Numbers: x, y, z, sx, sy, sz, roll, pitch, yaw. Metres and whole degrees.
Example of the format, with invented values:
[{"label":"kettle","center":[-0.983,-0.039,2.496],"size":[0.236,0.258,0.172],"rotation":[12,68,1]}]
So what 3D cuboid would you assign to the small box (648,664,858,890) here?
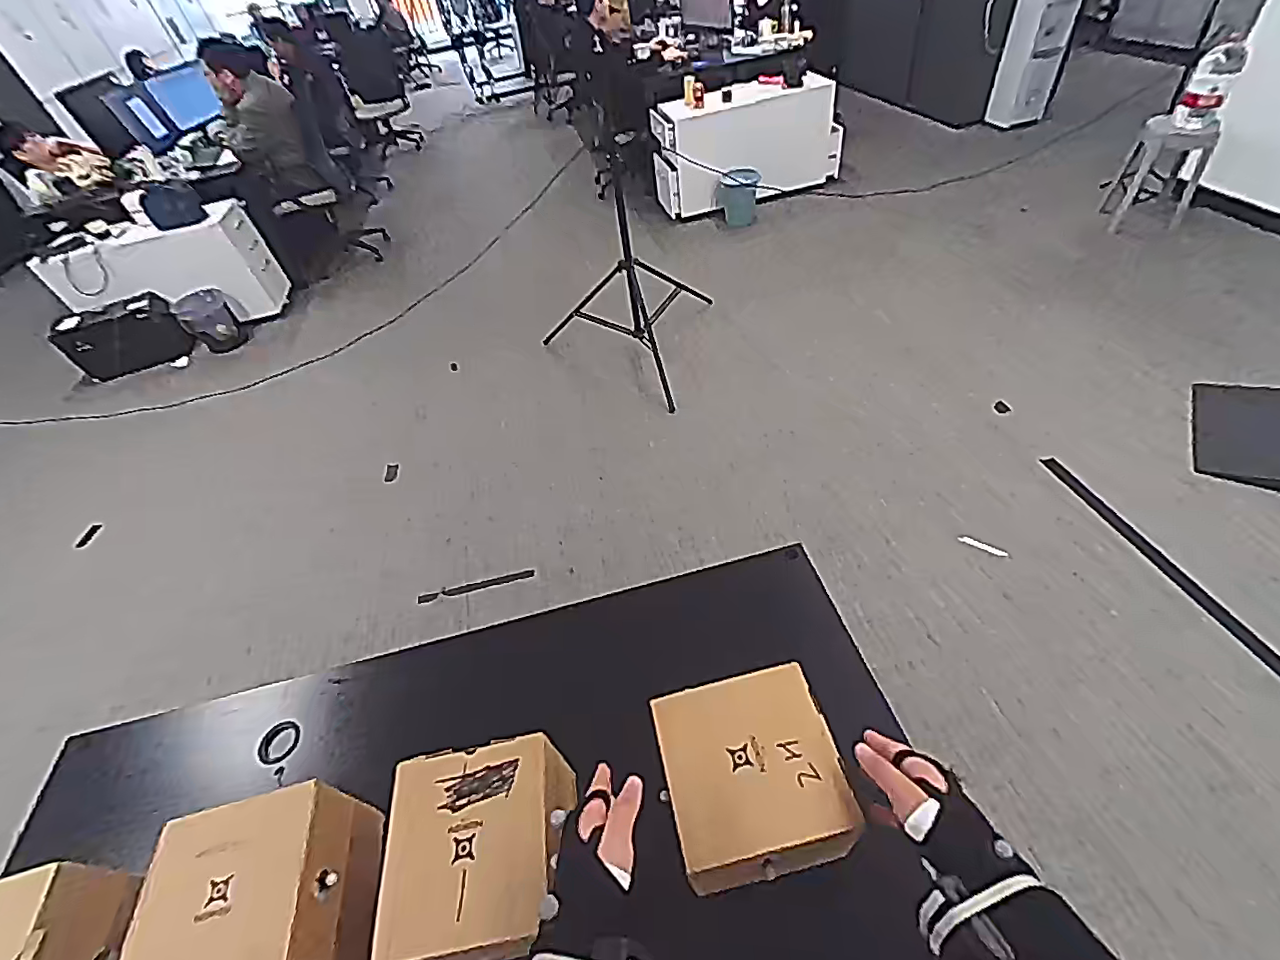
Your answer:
[{"label":"small box","center":[0.119,0.339,0.613],"size":[0.179,0.176,0.168],"rotation":[-13,47,-2]}]

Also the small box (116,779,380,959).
[{"label":"small box","center":[-0.407,0.463,0.591],"size":[0.168,0.176,0.179],"rotation":[-14,46,-5]}]

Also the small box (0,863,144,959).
[{"label":"small box","center":[-0.659,0.533,0.566],"size":[0.179,0.176,0.168],"rotation":[-15,46,-6]}]

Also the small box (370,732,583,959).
[{"label":"small box","center":[-0.164,0.409,0.597],"size":[0.168,0.176,0.179],"rotation":[-12,47,-1]}]
